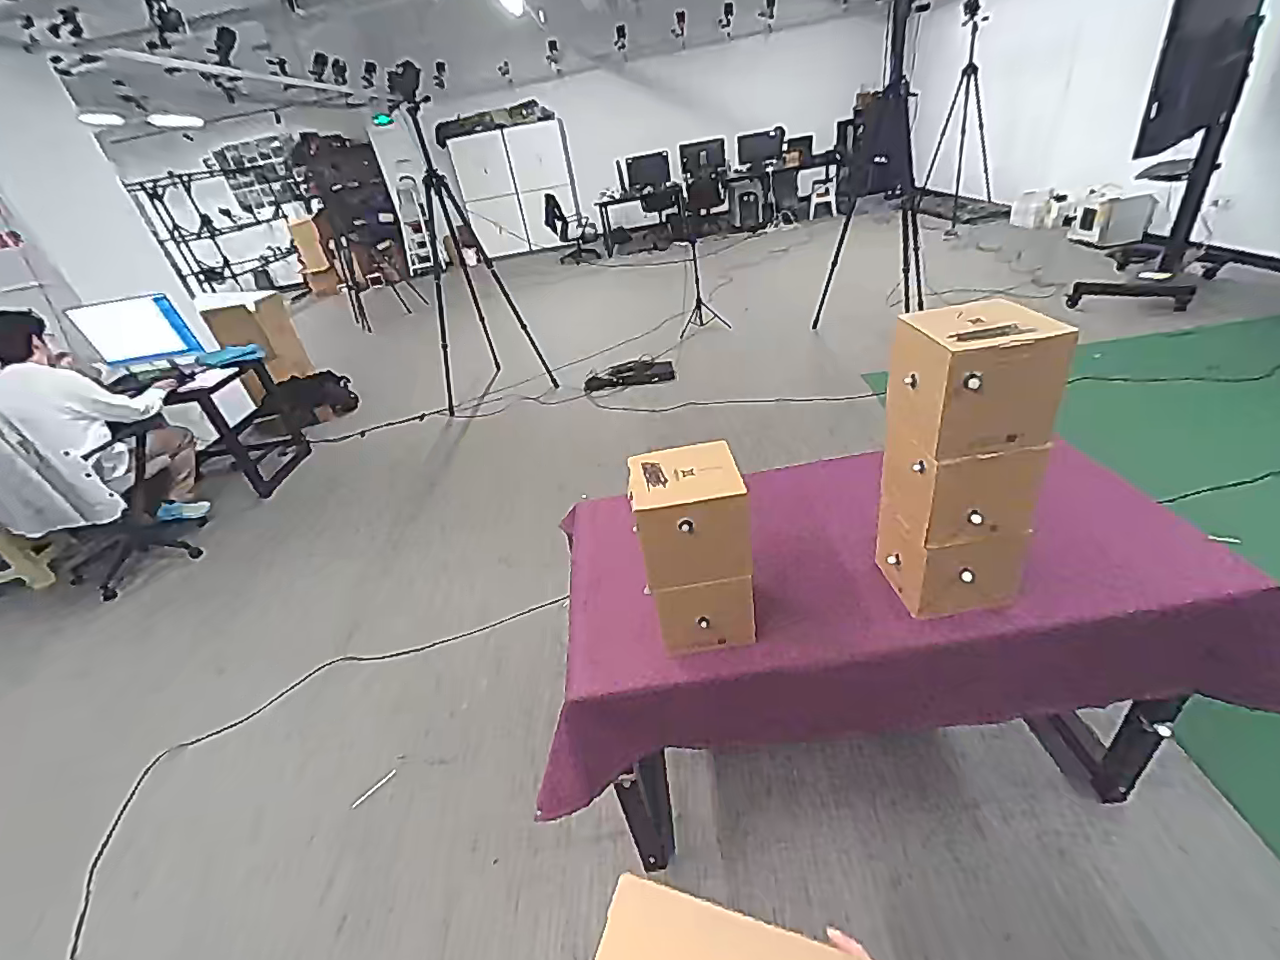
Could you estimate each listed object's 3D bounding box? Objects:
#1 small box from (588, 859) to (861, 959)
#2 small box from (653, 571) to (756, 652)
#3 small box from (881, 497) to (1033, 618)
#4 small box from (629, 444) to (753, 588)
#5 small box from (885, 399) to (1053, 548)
[{"bbox_3d":[0.054,0.409,0.369,0.179,0.176,0.168,1,35,25],"label":"small box"},{"bbox_3d":[0.113,0.198,0.999,0.168,0.176,0.179,-10,32,2],"label":"small box"},{"bbox_3d":[0.554,0.126,0.971,0.179,0.176,0.168,-11,32,2],"label":"small box"},{"bbox_3d":[0.084,0.062,0.910,0.179,0.176,0.168,-10,32,2],"label":"small box"},{"bbox_3d":[0.522,-0.013,0.891,0.168,0.176,0.179,-10,33,3],"label":"small box"}]
